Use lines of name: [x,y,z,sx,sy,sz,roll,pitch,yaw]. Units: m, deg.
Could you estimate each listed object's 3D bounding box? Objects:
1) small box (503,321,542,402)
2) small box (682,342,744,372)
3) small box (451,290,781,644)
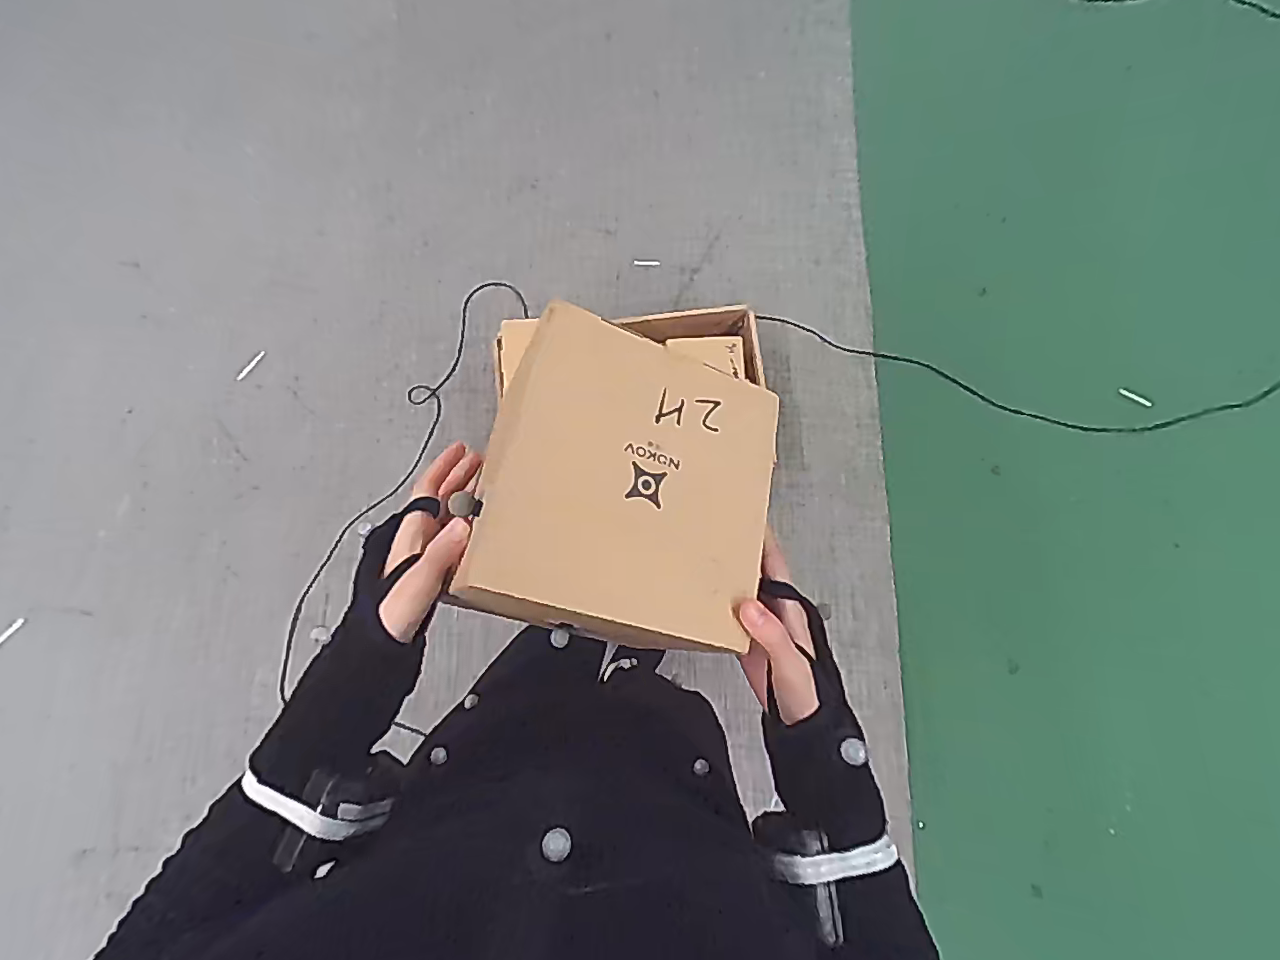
small box: [-0.181,-0.220,1.127,0.179,0.176,0.168,-2,83,-3]
small box: [0.149,-0.220,1.298,0.179,0.176,0.168,-1,82,-1]
small box: [-0.026,0.011,0.385,0.168,0.176,0.179,20,67,-19]
